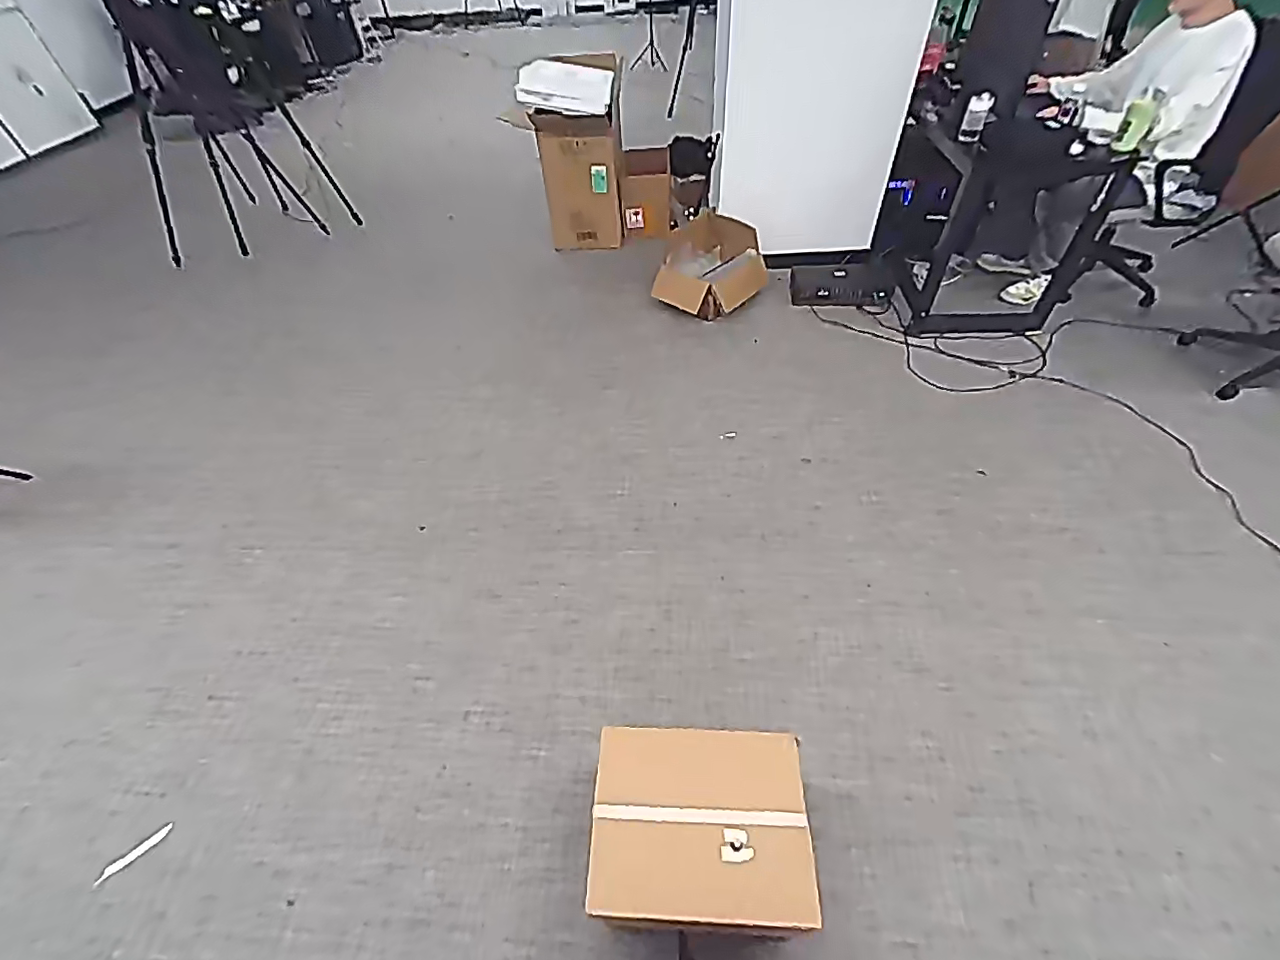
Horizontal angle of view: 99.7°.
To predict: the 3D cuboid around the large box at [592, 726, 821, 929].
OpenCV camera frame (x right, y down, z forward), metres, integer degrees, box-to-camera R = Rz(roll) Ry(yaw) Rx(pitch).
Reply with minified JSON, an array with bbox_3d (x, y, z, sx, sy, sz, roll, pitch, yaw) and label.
[{"bbox_3d":[0.122,0.733,1.137,0.408,0.320,0.320,0,49,3],"label":"large box"}]
